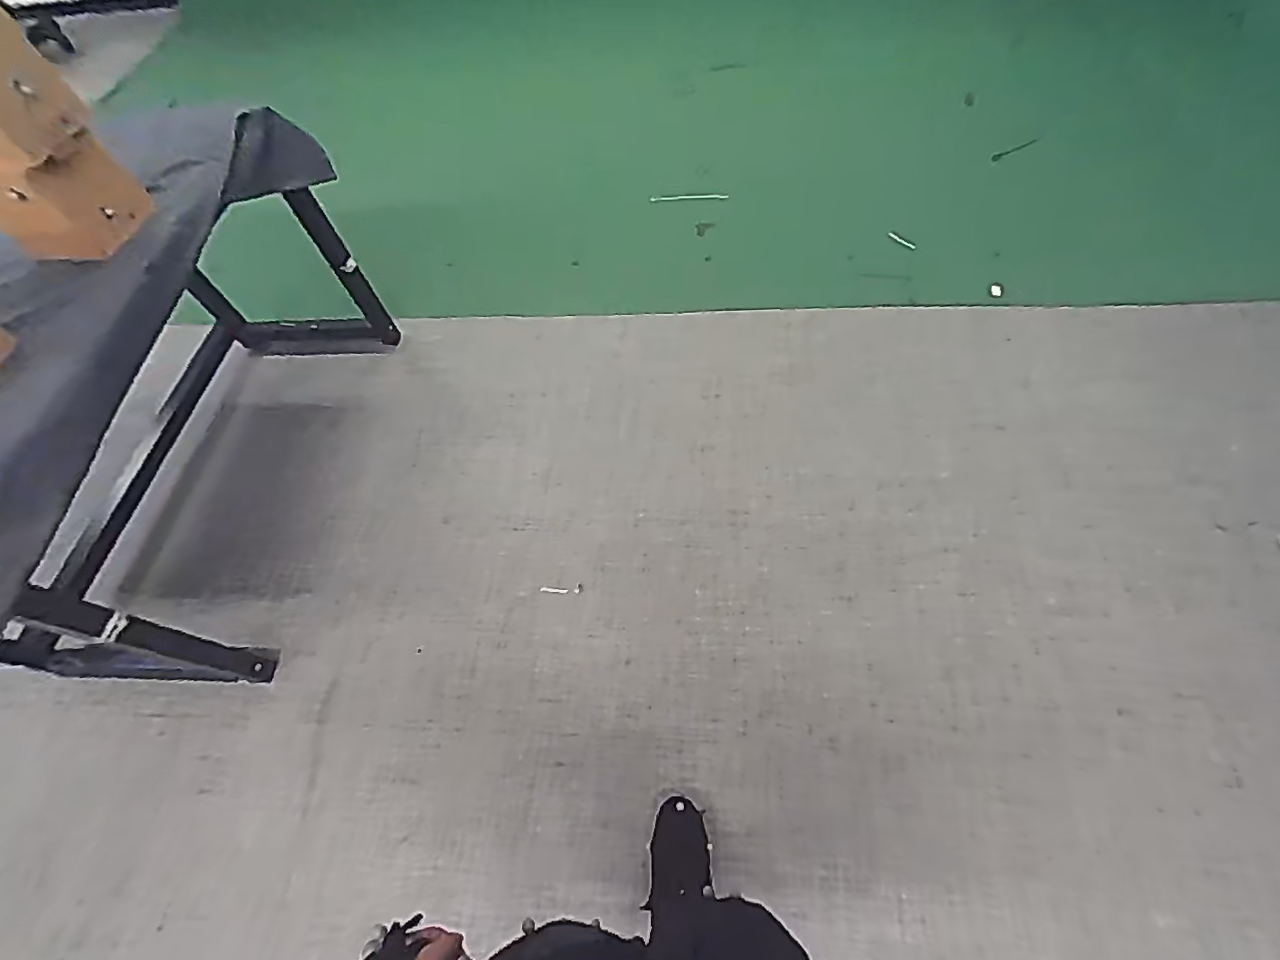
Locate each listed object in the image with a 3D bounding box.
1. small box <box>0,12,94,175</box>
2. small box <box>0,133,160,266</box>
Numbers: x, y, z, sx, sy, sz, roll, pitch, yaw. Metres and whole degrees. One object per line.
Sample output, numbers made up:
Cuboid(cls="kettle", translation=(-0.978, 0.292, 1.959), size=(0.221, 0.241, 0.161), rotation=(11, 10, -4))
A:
Cuboid(cls="small box", translation=(-1.067, -0.615, 0.873), size=(0.179, 0.176, 0.168), rotation=(1, 59, 4))
Cuboid(cls="small box", translation=(-1.075, -0.519, 1.007), size=(0.179, 0.176, 0.168), rotation=(3, 59, 7))
